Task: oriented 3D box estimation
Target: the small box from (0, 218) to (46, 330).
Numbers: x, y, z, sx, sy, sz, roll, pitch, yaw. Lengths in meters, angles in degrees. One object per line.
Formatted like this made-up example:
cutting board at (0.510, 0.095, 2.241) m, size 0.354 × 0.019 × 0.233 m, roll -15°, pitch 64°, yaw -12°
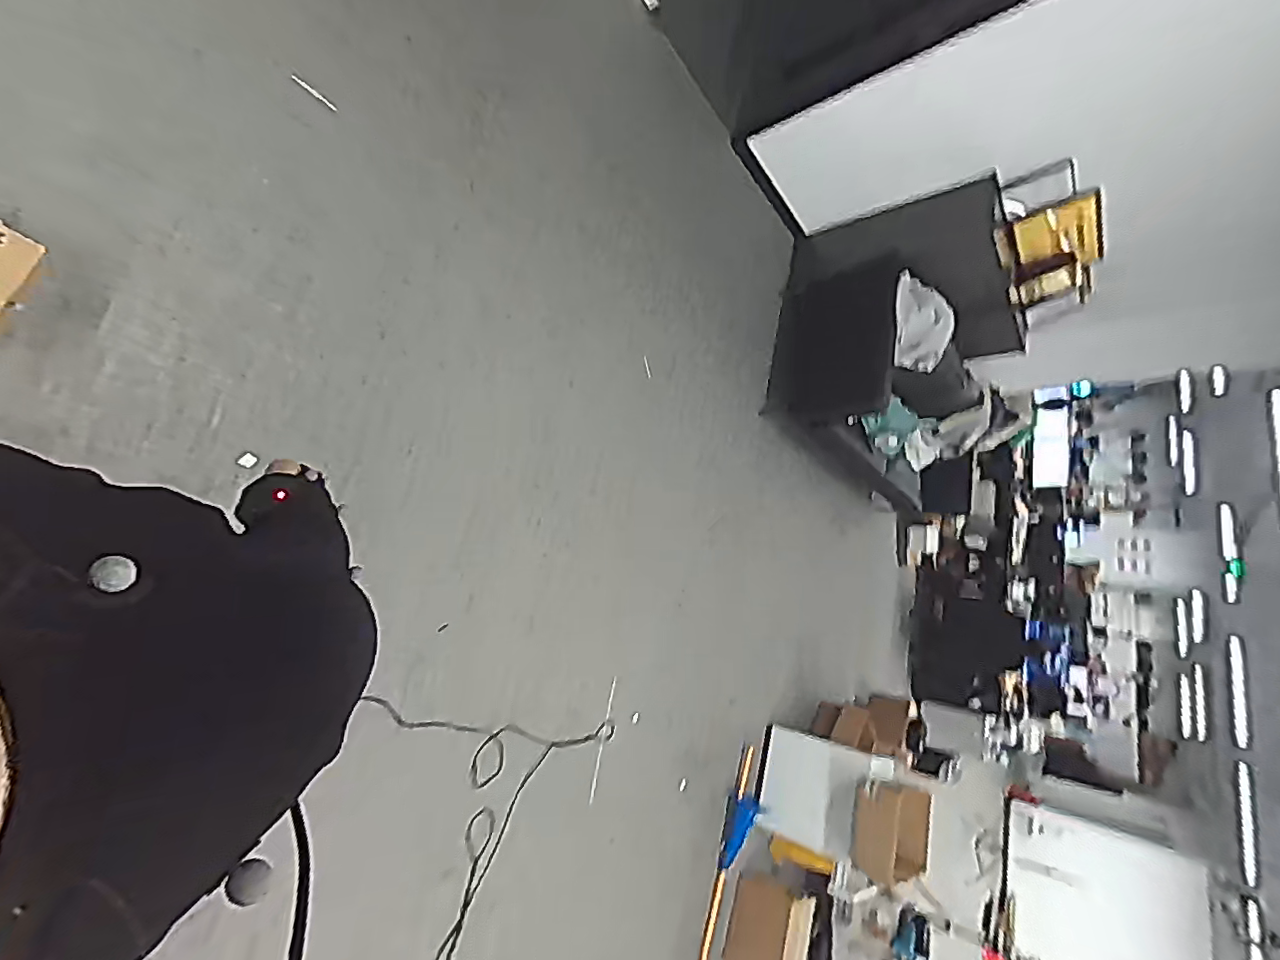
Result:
small box at (-1.152, -0.363, 0.905) m, size 0.168 × 0.176 × 0.179 m, roll 34°, pitch 66°, yaw -43°
